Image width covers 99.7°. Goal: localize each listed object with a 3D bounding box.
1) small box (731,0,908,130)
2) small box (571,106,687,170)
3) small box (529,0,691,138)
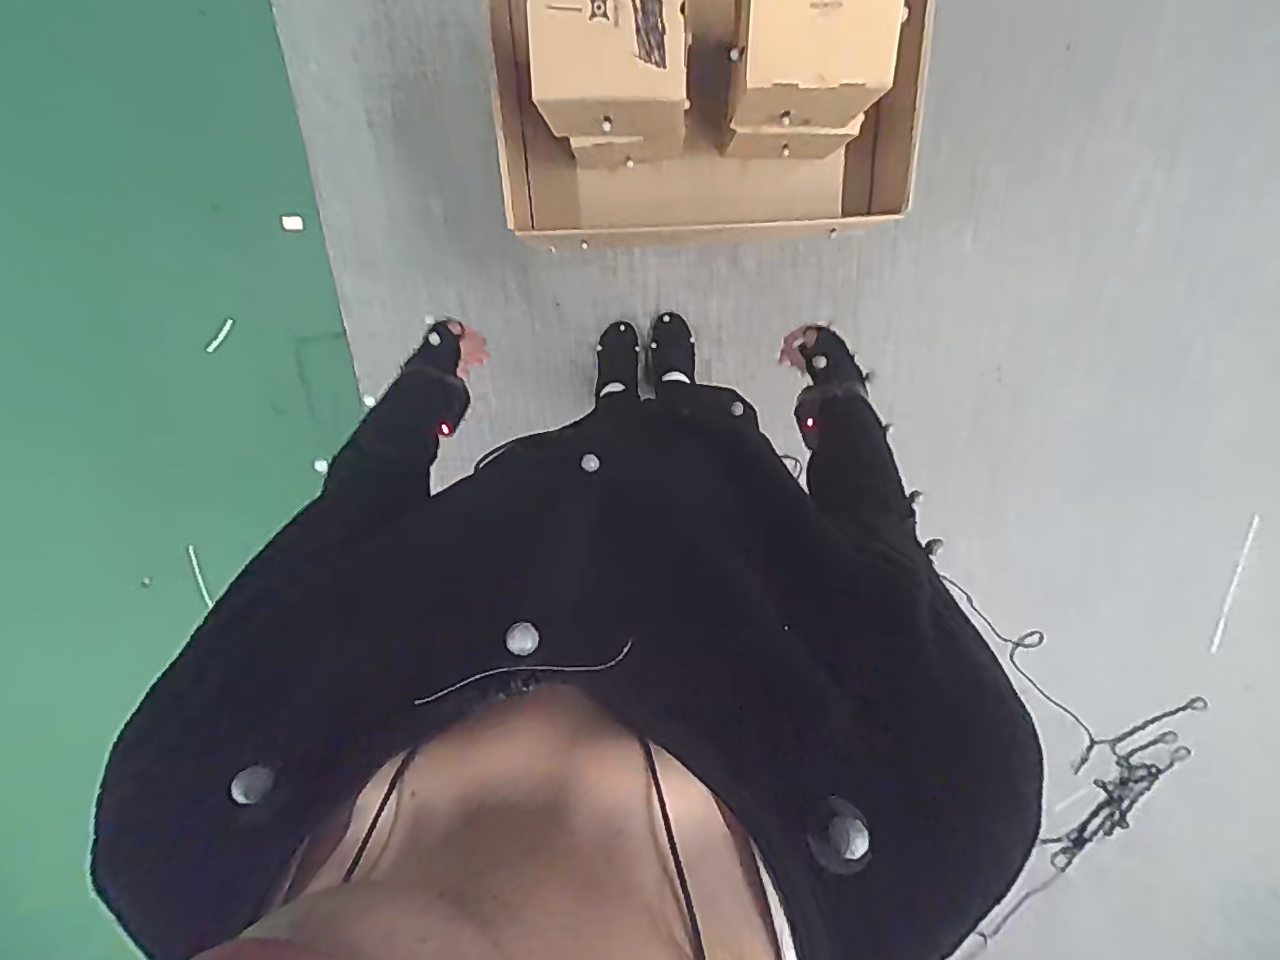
[{"bbox_3d":[0.204,-0.545,0.646,0.168,0.176,0.179,1,109,1],"label":"small box"},{"bbox_3d":[-0.023,-0.586,0.808,0.168,0.176,0.179,-5,110,3],"label":"small box"},{"bbox_3d":[-0.031,-0.530,0.654,0.179,0.176,0.168,1,109,1],"label":"small box"}]
